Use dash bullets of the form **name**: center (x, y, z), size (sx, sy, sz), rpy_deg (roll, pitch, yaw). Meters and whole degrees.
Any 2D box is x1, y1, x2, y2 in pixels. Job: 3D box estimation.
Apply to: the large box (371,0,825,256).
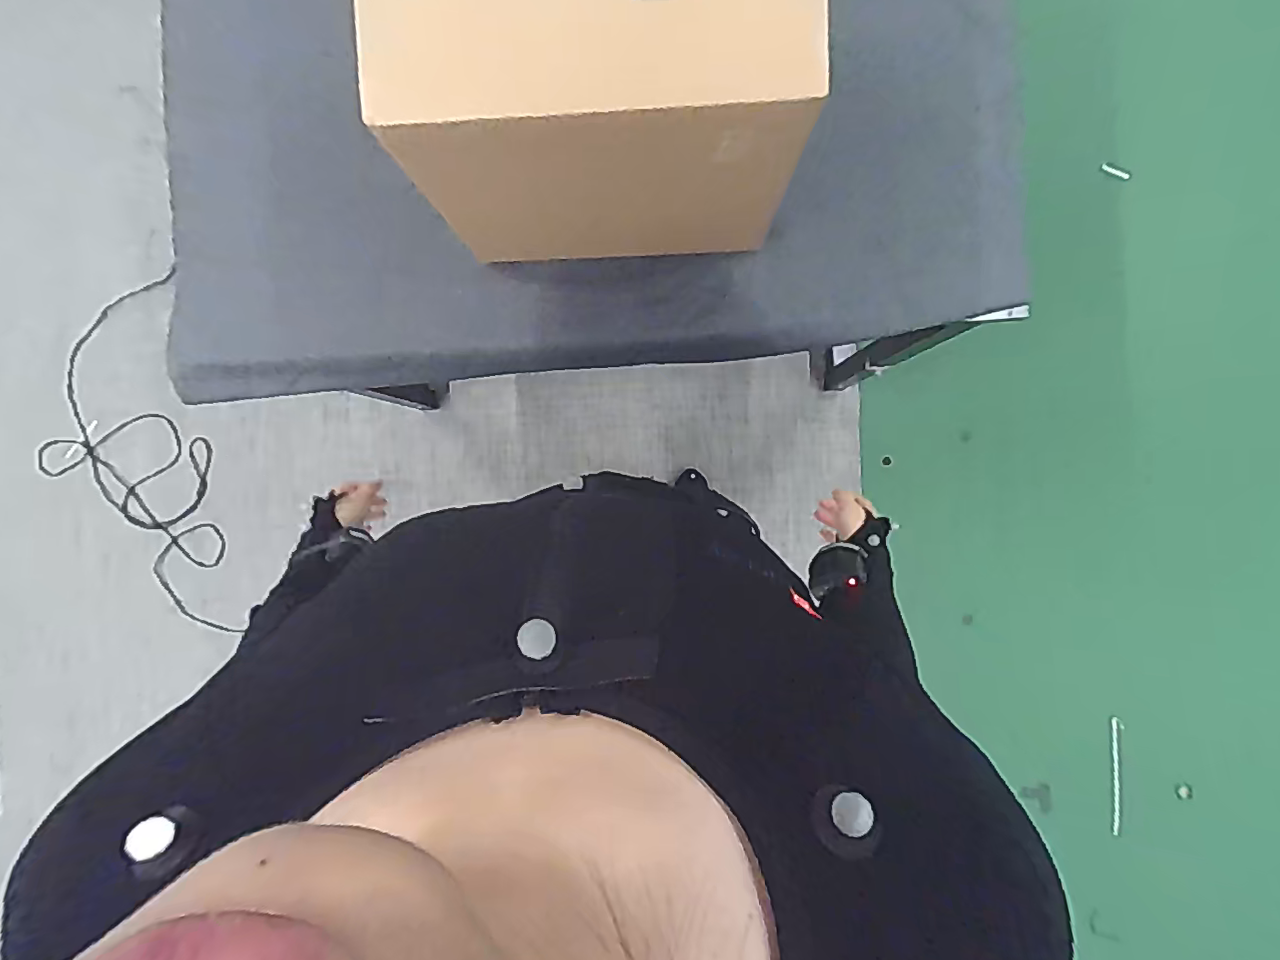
- **large box**: center (-0.040, -0.481, 0.624), size (0.408, 0.320, 0.320), rpy_deg (-2, 91, 2)
